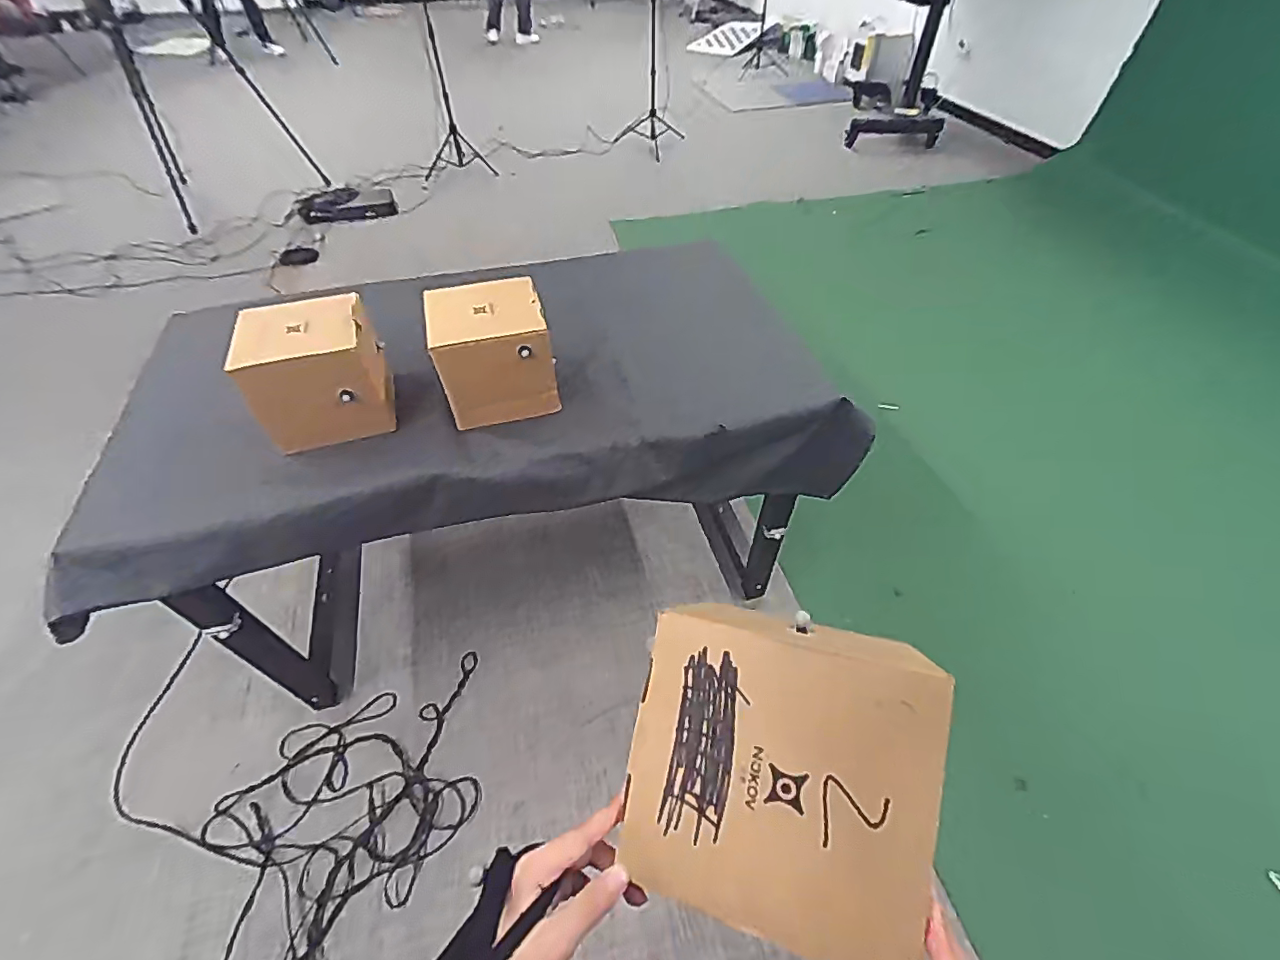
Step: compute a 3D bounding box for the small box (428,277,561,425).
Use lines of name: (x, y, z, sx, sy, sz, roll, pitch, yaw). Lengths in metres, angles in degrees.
small box: (-0.240, -0.212, 0.904, 0.179, 0.176, 0.168, -13, 50, -11)

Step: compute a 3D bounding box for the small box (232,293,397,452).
small box: (-0.506, -0.171, 0.871, 0.179, 0.176, 0.168, -15, 49, -12)
